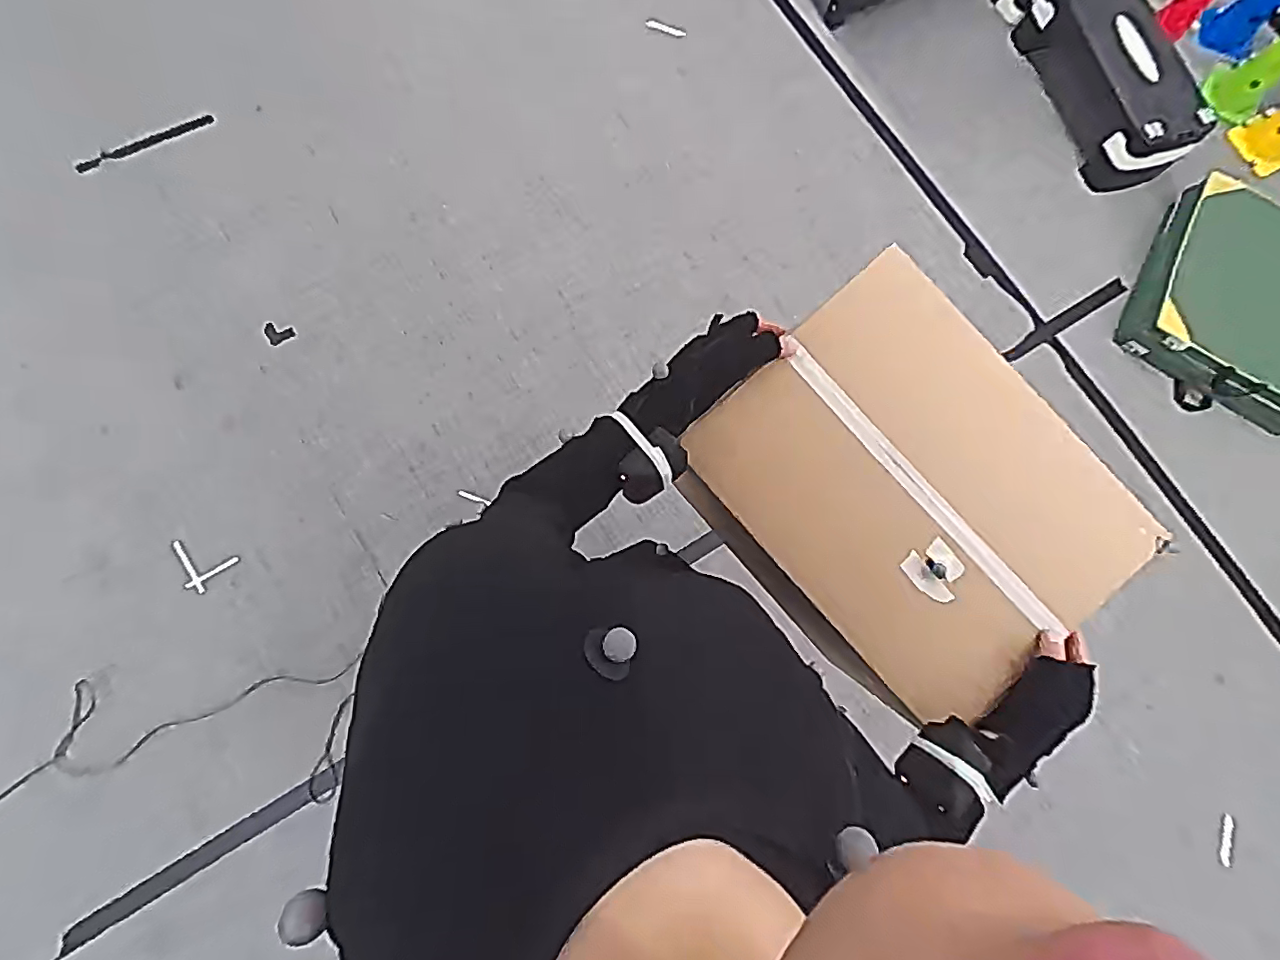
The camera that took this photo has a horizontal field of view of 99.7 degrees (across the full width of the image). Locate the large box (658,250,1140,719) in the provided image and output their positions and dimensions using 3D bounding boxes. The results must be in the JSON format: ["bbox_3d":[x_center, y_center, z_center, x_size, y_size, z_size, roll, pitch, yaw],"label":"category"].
[{"bbox_3d":[0.272,0.005,0.706,0.320,0.320,0.408,-42,89,-2],"label":"large box"}]
